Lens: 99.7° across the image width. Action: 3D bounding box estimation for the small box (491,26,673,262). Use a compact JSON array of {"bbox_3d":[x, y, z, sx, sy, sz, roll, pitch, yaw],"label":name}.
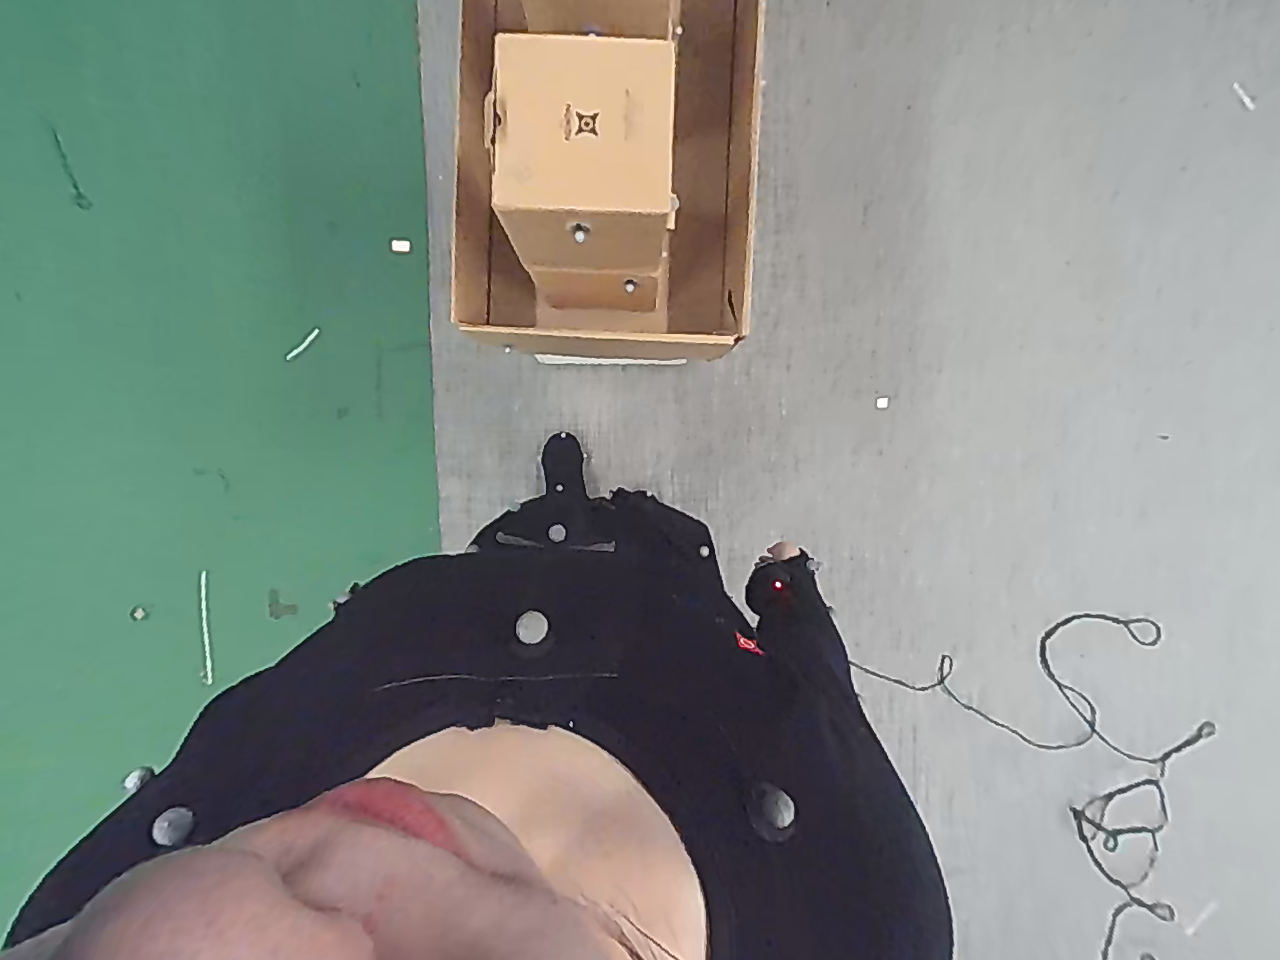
[{"bbox_3d":[-0.059,-0.357,0.607,0.179,0.176,0.168,1,94,-3],"label":"small box"}]
